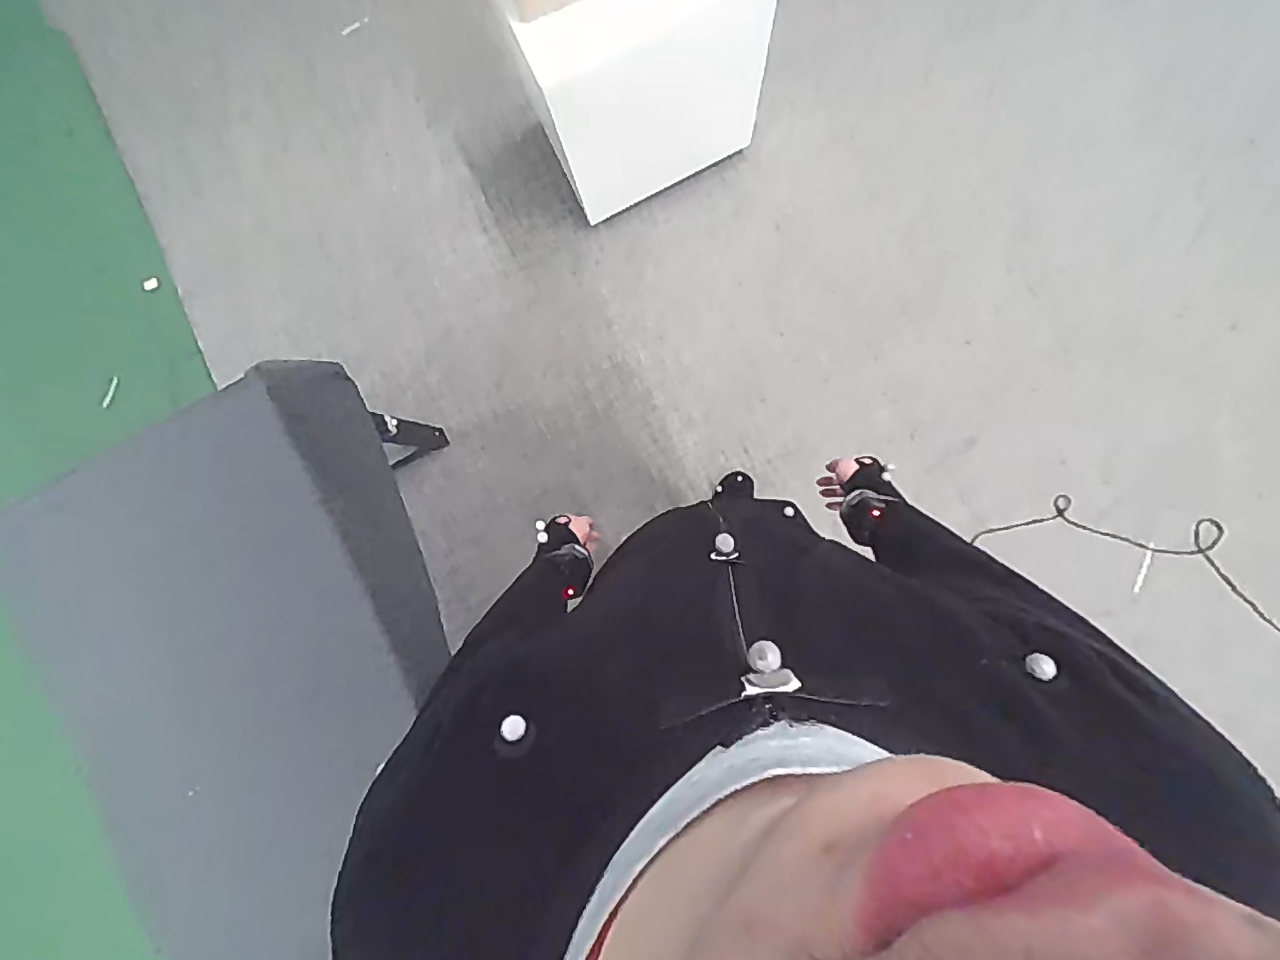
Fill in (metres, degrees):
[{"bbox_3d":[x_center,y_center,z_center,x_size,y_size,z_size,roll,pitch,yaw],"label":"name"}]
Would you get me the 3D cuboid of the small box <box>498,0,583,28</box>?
[{"bbox_3d":[-0.190,-0.938,0.922,0.179,0.176,0.168,-22,87,1],"label":"small box"}]
